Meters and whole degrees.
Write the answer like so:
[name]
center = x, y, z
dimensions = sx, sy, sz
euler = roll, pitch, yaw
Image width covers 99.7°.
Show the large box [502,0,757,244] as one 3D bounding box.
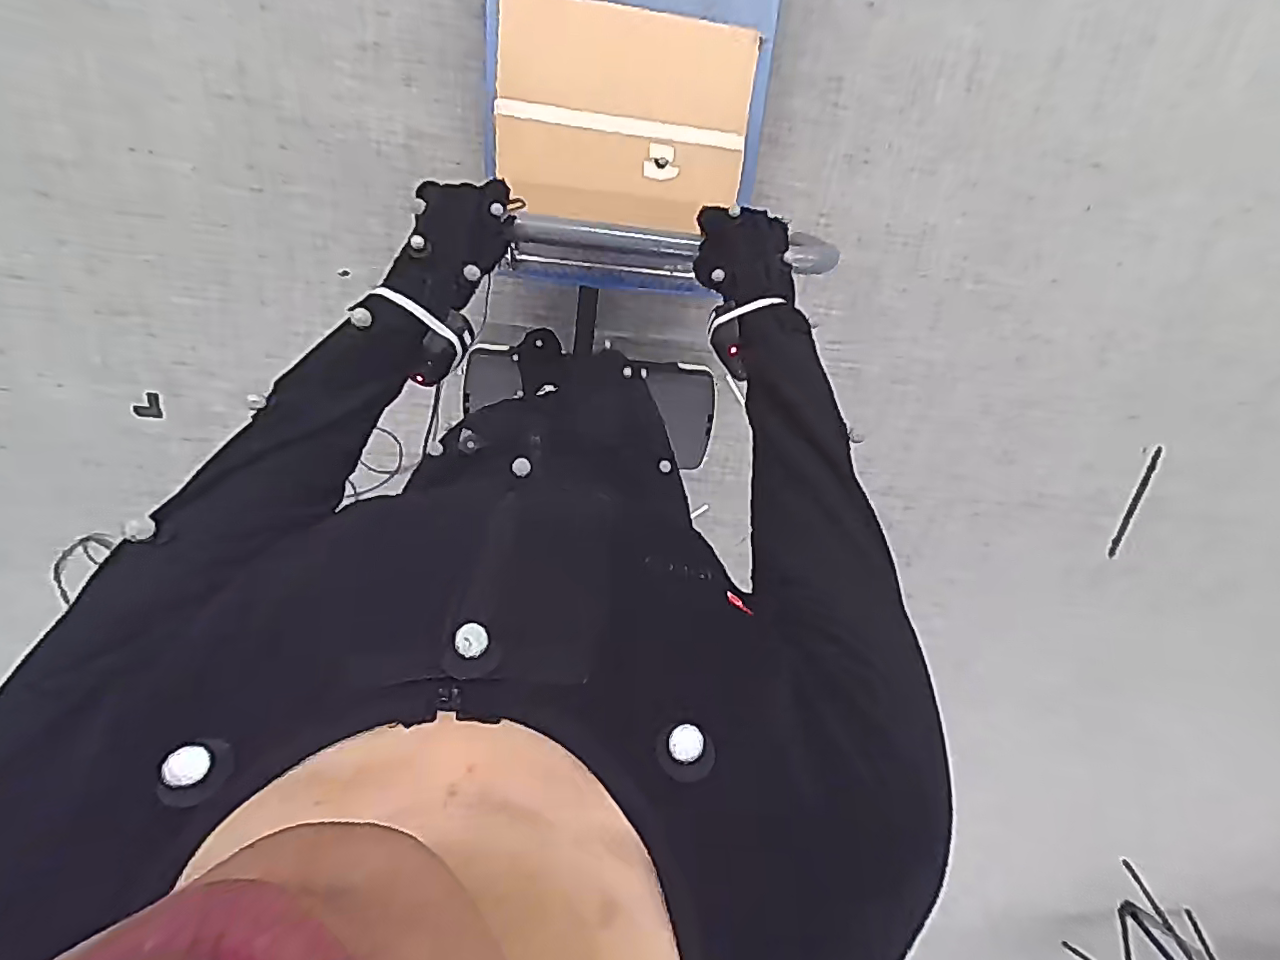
[large box]
center = -0.039, -0.642, 1.024
dimensions = 0.408, 0.320, 0.320
euler = 4, 110, -7
